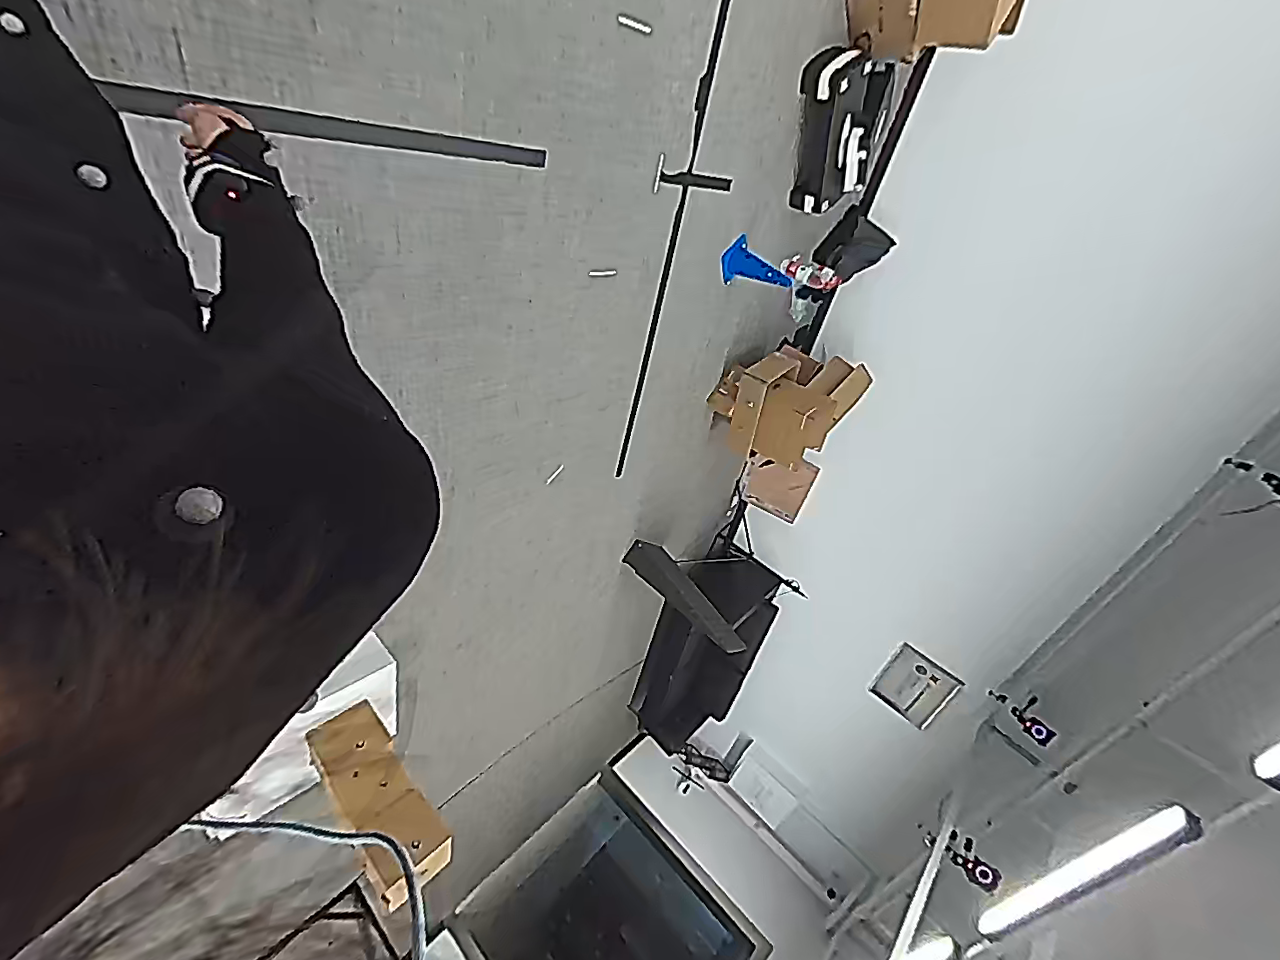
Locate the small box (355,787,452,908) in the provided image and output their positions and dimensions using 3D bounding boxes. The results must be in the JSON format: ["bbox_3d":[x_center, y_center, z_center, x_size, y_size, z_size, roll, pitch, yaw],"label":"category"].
[{"bbox_3d":[-0.622,0.959,1.425,0.179,0.176,0.168,-24,140,-44],"label":"small box"}]

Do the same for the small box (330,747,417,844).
[{"bbox_3d":[-0.744,0.887,1.512,0.168,0.176,0.179,-24,141,-44],"label":"small box"}]

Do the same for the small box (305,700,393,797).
[{"bbox_3d":[-0.850,0.789,1.588,0.179,0.176,0.168,-24,140,-43],"label":"small box"}]
